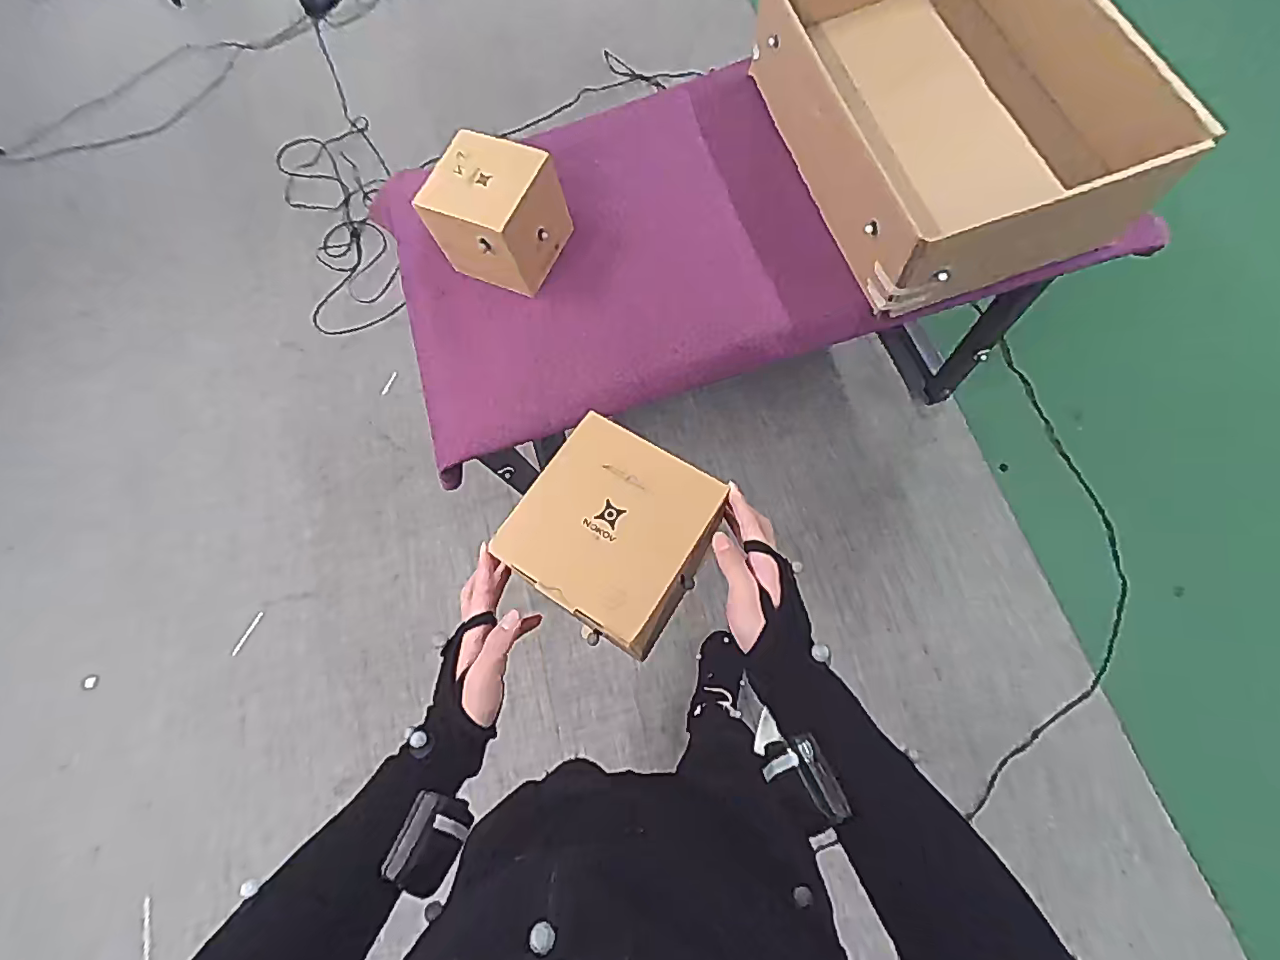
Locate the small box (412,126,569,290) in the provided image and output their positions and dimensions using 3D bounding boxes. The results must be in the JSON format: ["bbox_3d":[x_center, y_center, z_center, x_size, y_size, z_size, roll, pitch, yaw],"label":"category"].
[{"bbox_3d":[-0.243,-0.459,0.934,0.179,0.176,0.168,23,77,13],"label":"small box"}]
